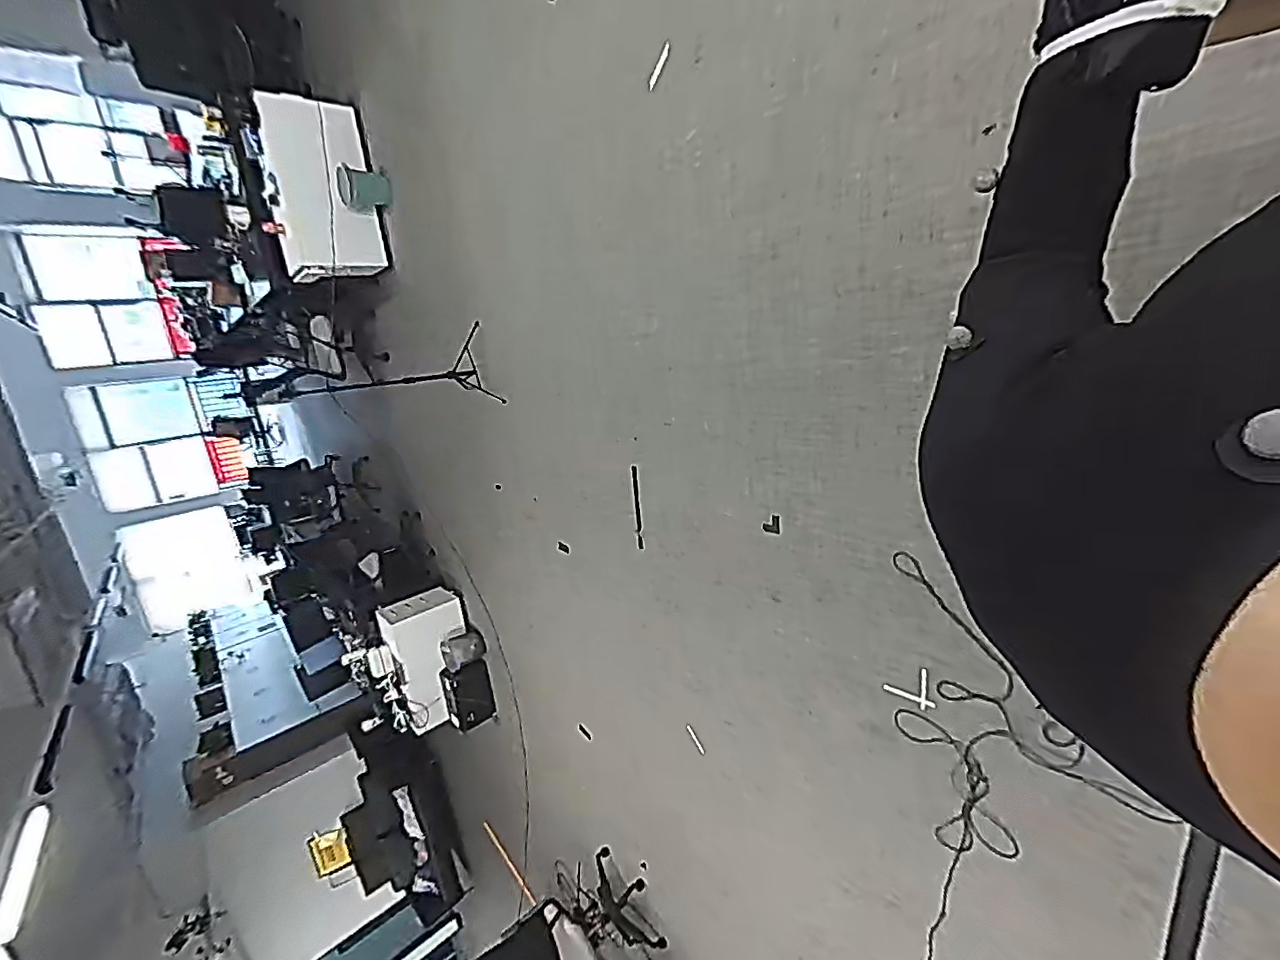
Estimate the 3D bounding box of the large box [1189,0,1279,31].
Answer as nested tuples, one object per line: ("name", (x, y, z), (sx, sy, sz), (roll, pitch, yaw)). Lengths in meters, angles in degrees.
("large box", (0.558, -0.489, 0.246), (0.408, 0.320, 0.320), (14, 123, 44))
